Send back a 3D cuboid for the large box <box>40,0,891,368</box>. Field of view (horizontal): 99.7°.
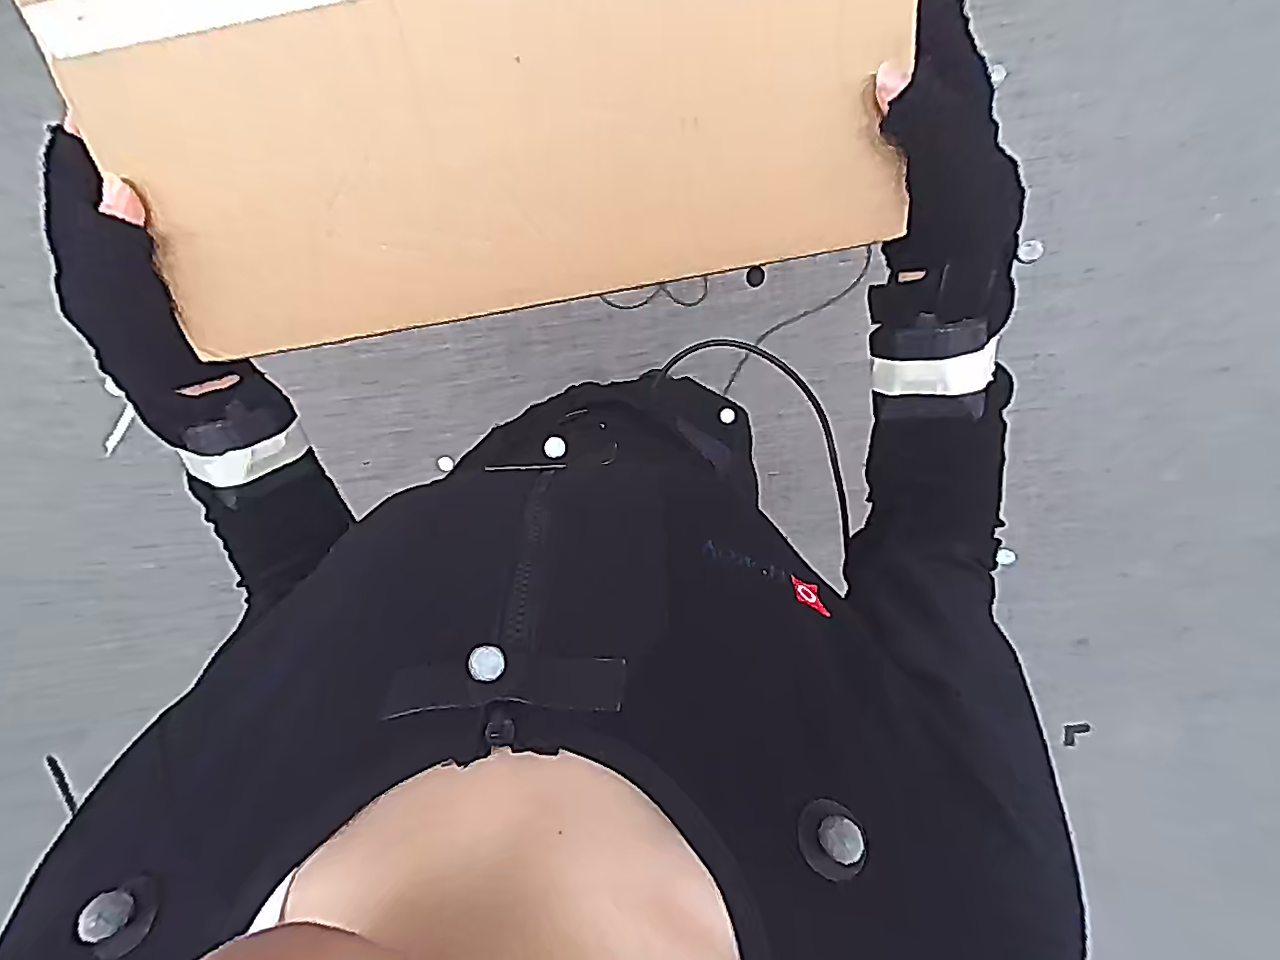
[{"bbox_3d":[-0.082,-0.300,0.388,0.408,0.320,0.320,-9,113,4],"label":"large box"}]
